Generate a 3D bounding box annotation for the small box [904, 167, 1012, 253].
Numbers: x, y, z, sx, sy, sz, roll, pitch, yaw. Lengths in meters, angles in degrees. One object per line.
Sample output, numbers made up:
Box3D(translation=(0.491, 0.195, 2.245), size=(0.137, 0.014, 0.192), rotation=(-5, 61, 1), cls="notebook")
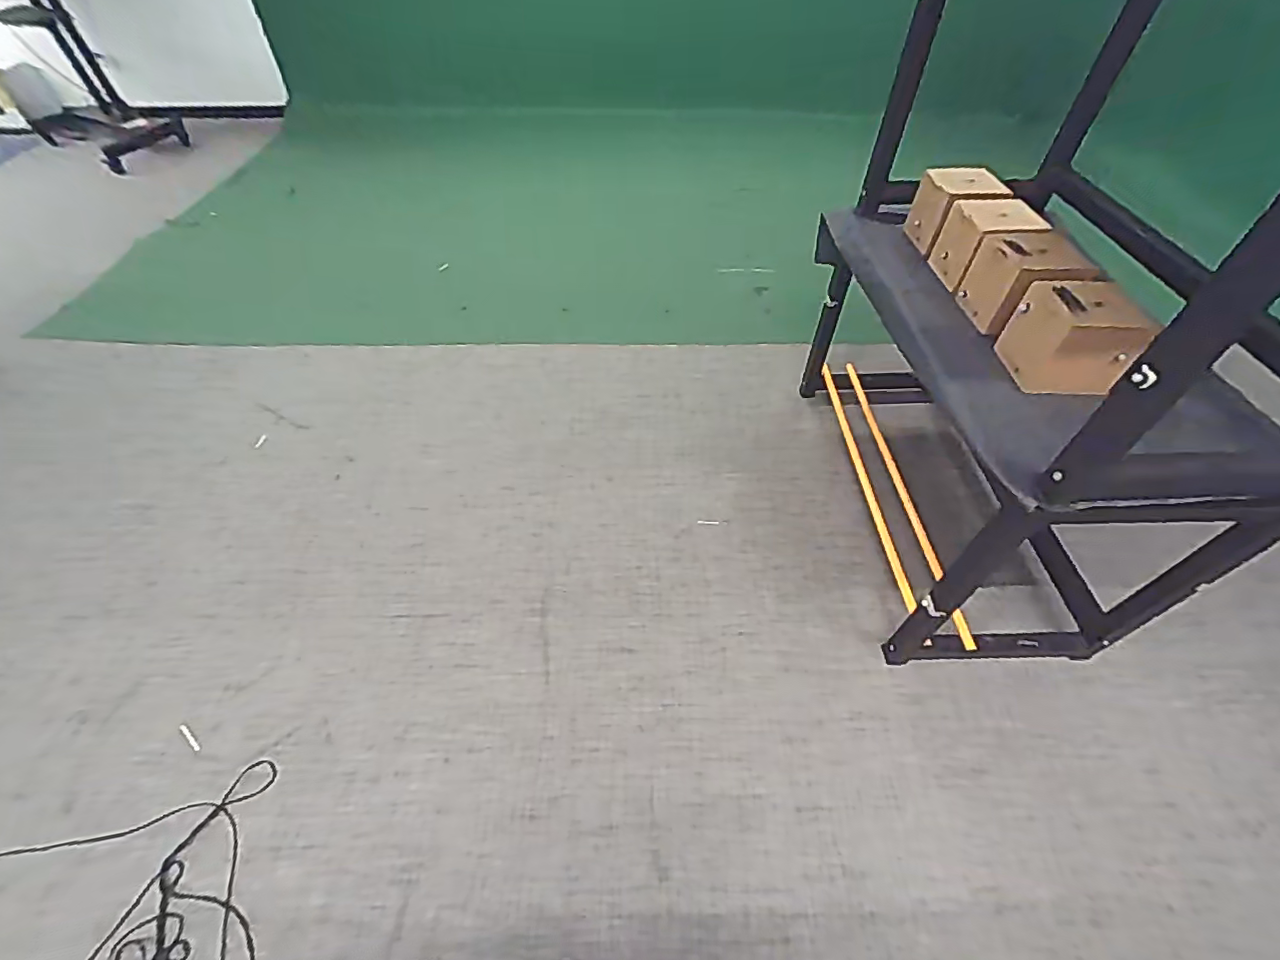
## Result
Box3D(translation=(0.883, -0.757, 1.521), size=(0.179, 0.176, 0.168), rotation=(-2, 50, -2), cls="small box")
